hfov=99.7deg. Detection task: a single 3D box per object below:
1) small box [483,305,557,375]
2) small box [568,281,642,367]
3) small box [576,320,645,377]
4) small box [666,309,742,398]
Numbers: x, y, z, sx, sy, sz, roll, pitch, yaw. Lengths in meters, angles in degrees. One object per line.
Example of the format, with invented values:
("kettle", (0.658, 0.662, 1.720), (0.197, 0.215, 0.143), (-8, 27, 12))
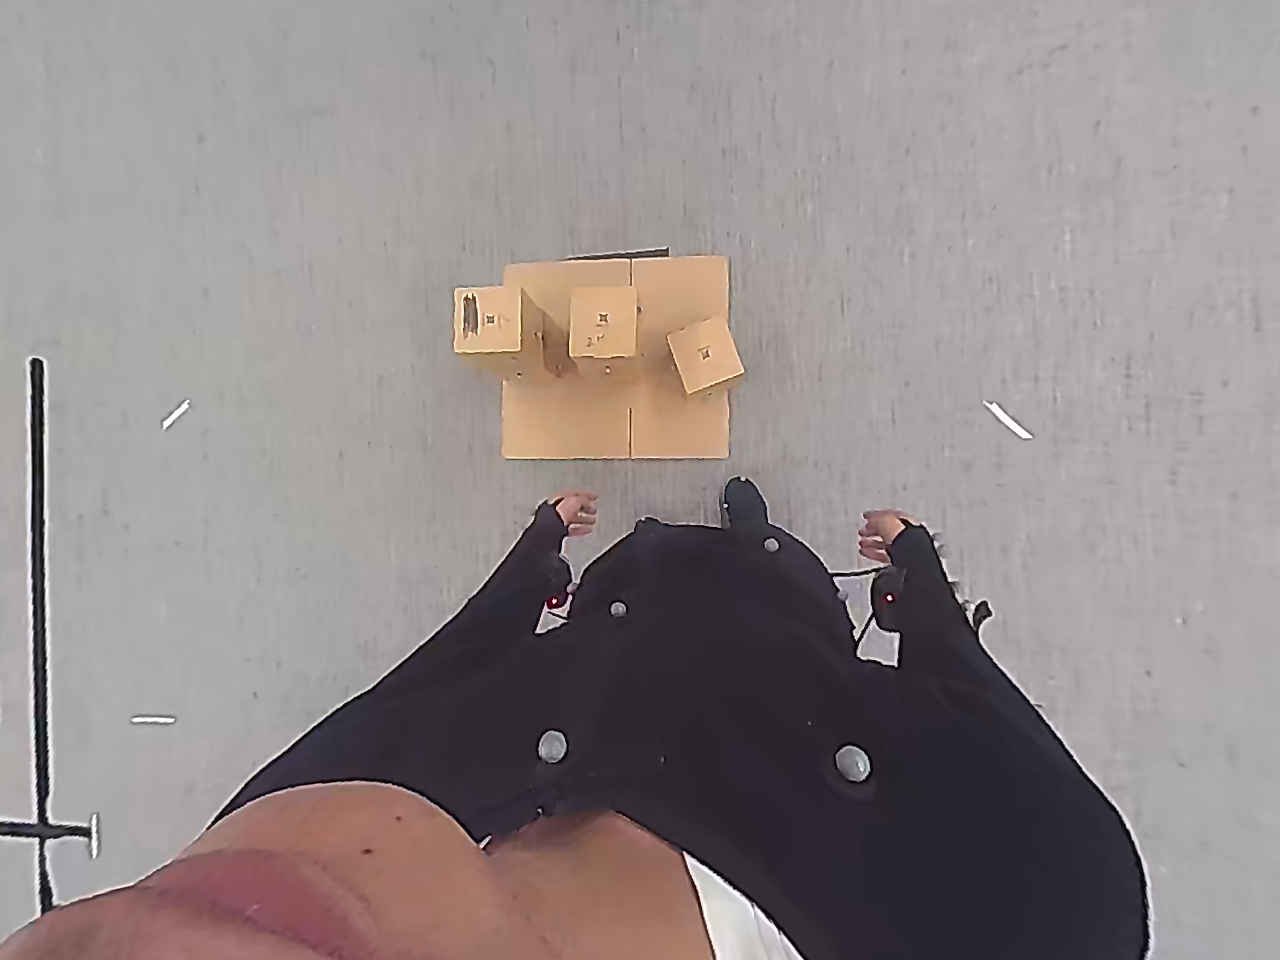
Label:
("small box", (-0.345, -0.405, 1.584), (0.179, 0.176, 0.168), (0, 90, 7))
("small box", (-0.085, -0.398, 1.396), (0.168, 0.176, 0.179), (2, 91, 5))
("small box", (-0.080, -0.395, 1.561), (0.179, 0.176, 0.168), (2, 90, 6))
("small box", (0.179, -0.352, 1.536), (0.168, 0.176, 0.179), (-20, 87, 6))
